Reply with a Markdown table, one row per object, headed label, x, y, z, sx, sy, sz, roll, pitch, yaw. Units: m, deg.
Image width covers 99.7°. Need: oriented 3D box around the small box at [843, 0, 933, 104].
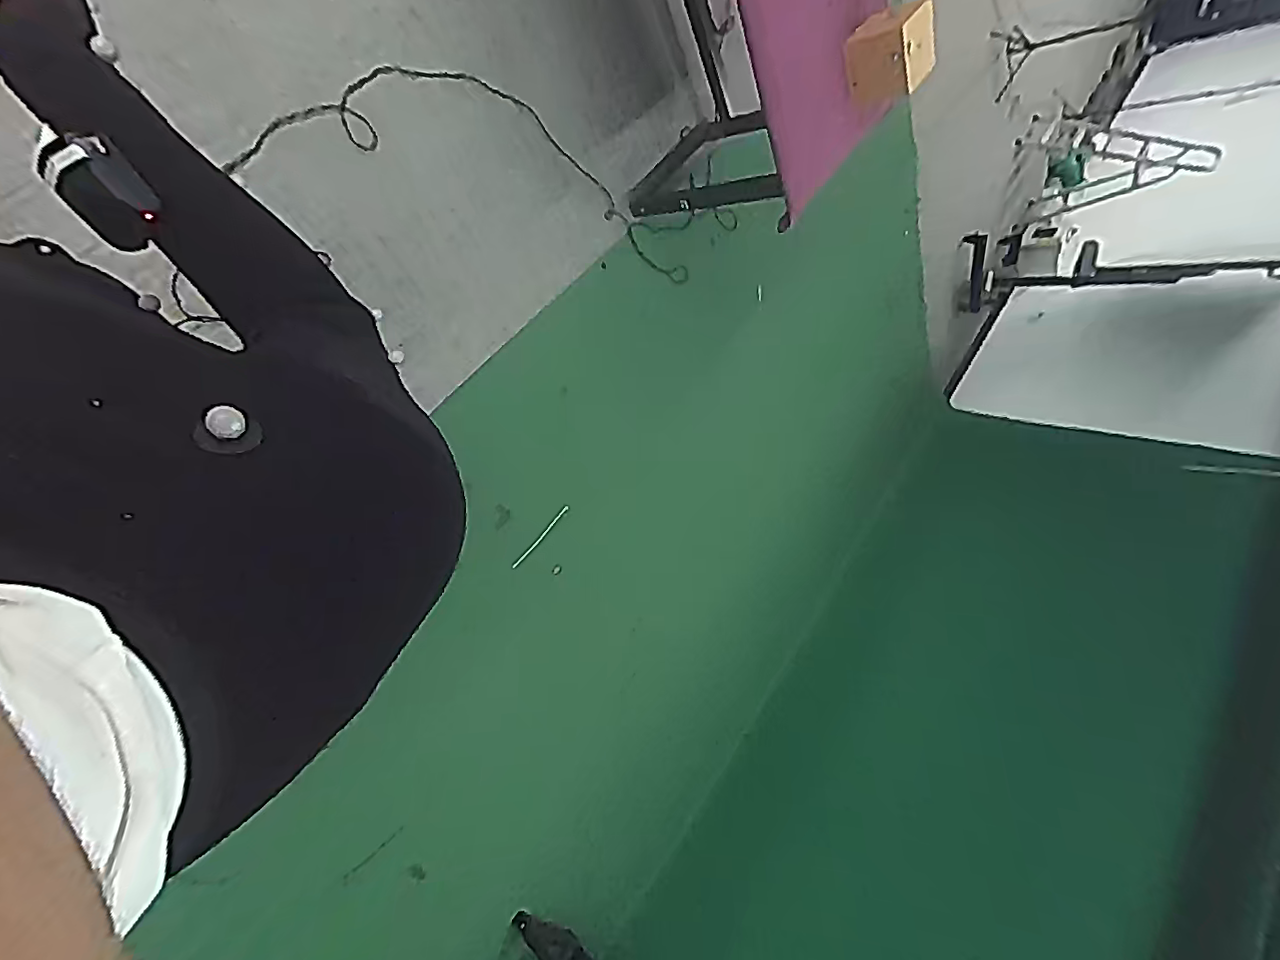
| label | x | y | z | sx | sy | sz | roll | pitch | yaw |
| --- | --- | --- | --- | --- | --- | --- | --- | --- | --- |
| small box | 0.690 | -1.190 | 1.502 | 0.179 | 0.176 | 0.168 | -52 | 133 | -19 |
